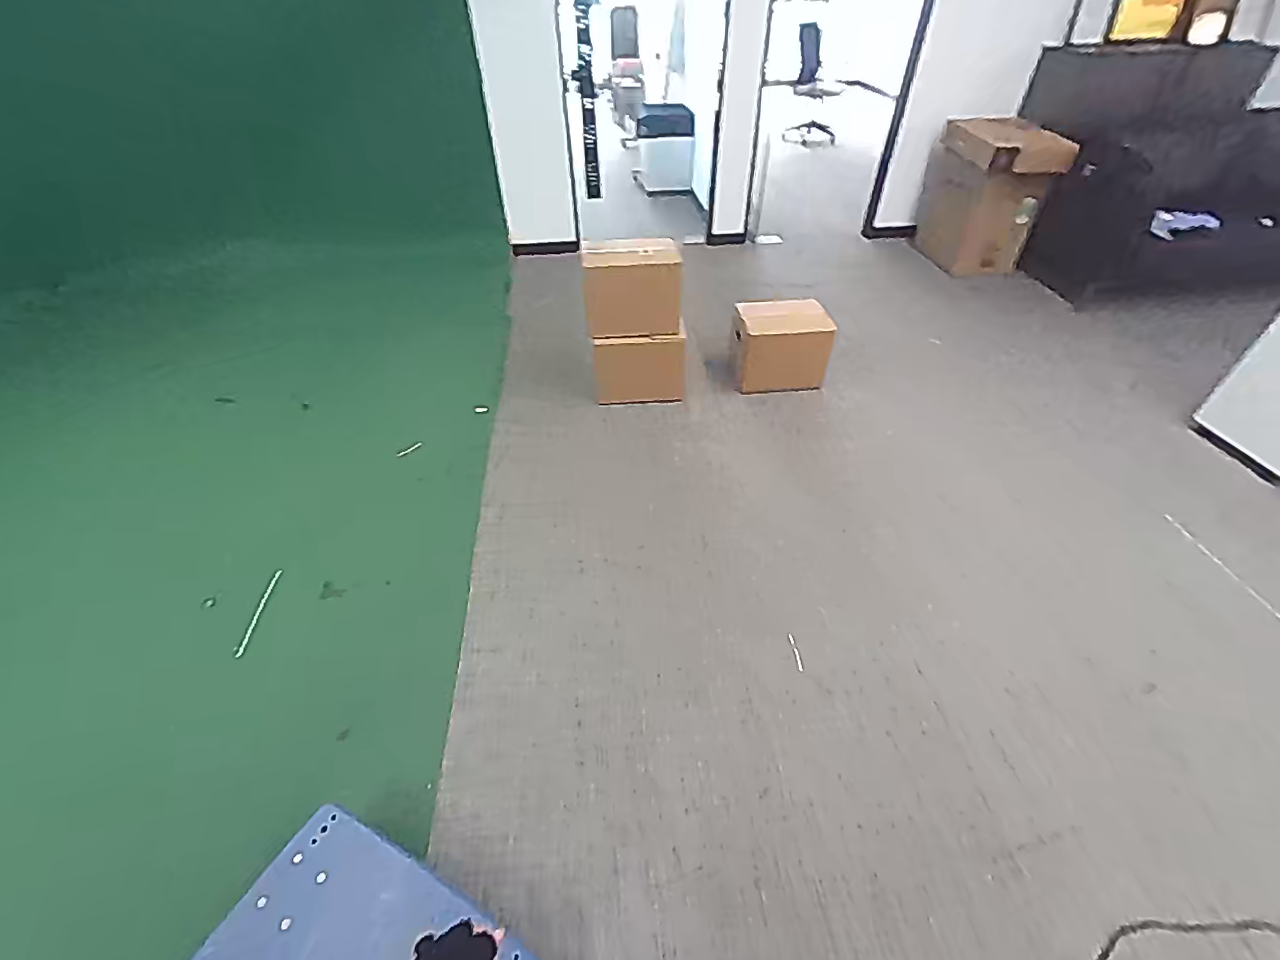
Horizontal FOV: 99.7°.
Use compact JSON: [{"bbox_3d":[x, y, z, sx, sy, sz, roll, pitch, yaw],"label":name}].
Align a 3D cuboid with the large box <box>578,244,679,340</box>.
[{"bbox_3d":[-0.058,-0.821,2.352,0.408,0.320,0.320,-3,40,-4],"label":"large box"}]
